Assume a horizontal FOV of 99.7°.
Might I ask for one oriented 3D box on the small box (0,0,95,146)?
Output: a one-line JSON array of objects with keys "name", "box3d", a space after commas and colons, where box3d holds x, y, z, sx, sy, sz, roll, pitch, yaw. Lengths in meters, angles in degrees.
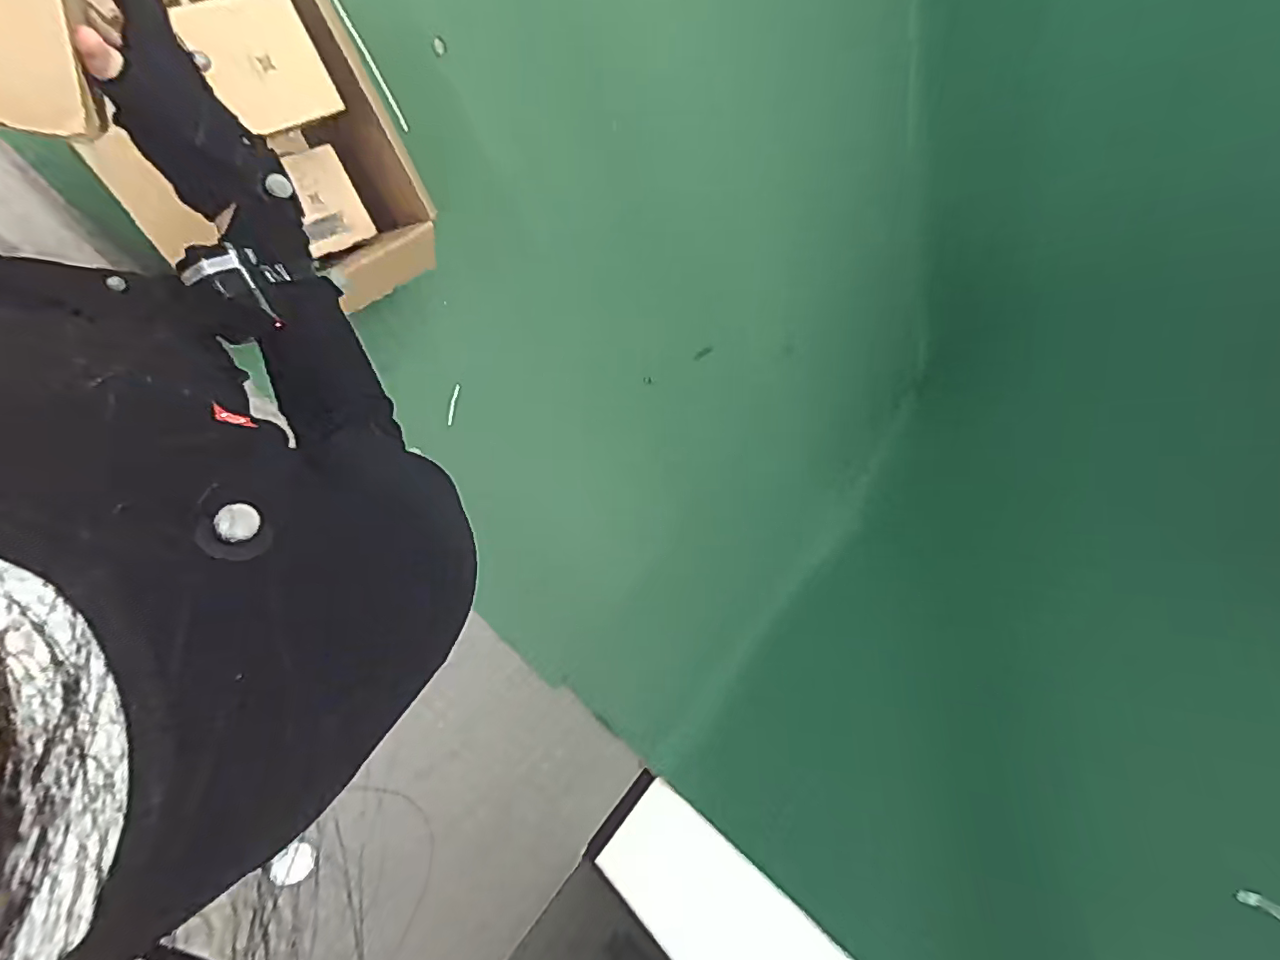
[{"name": "small box", "box3d": [-0.393, -0.283, 0.257, 0.168, 0.176, 0.179, -9, 124, -38]}]
